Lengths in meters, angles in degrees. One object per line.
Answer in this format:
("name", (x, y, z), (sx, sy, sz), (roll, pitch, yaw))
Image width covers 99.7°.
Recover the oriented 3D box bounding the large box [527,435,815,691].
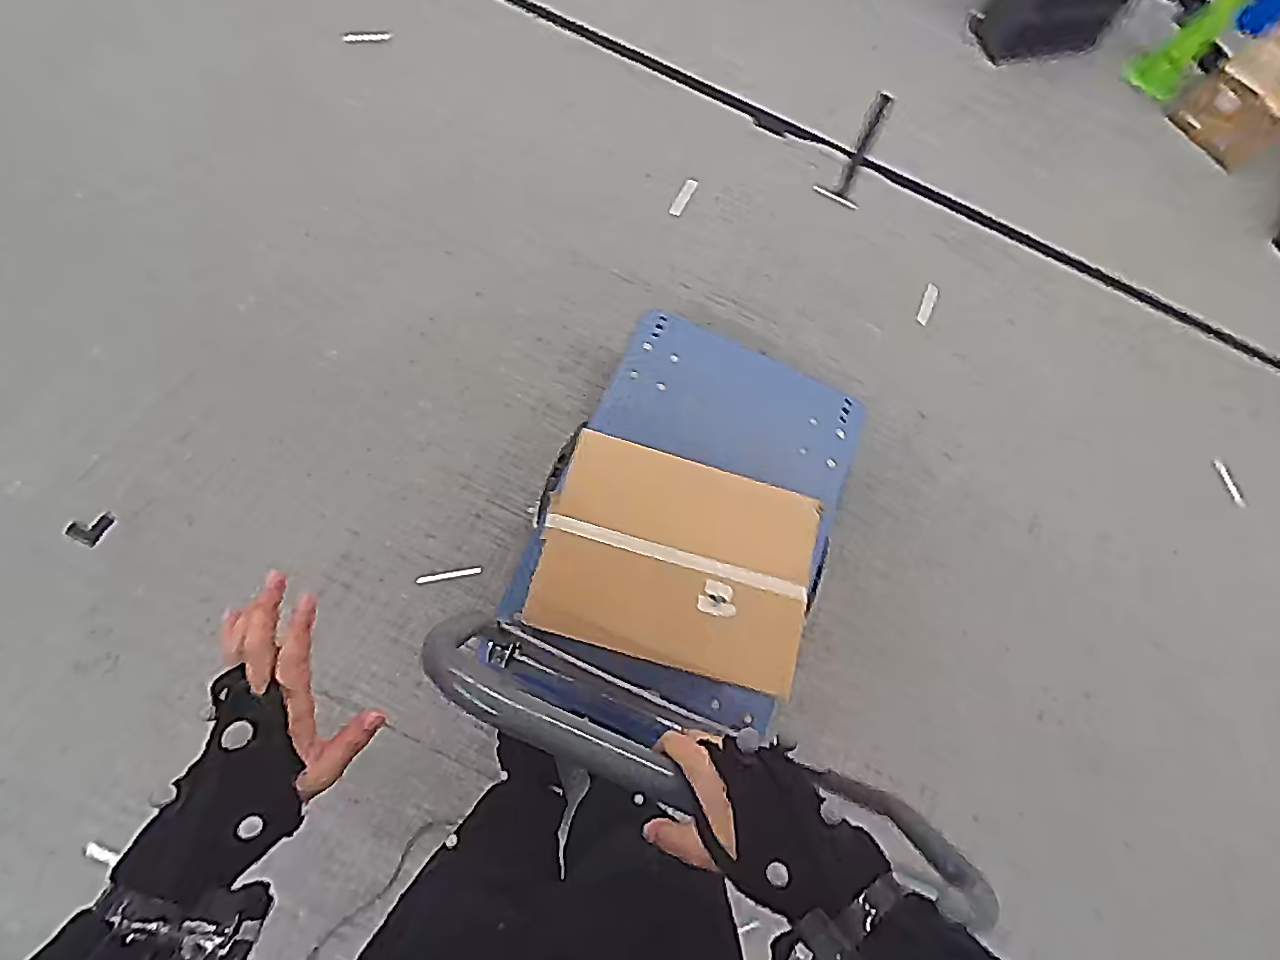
("large box", (0.038, 0.161, 0.965), (0.408, 0.320, 0.320), (17, 72, -4))
